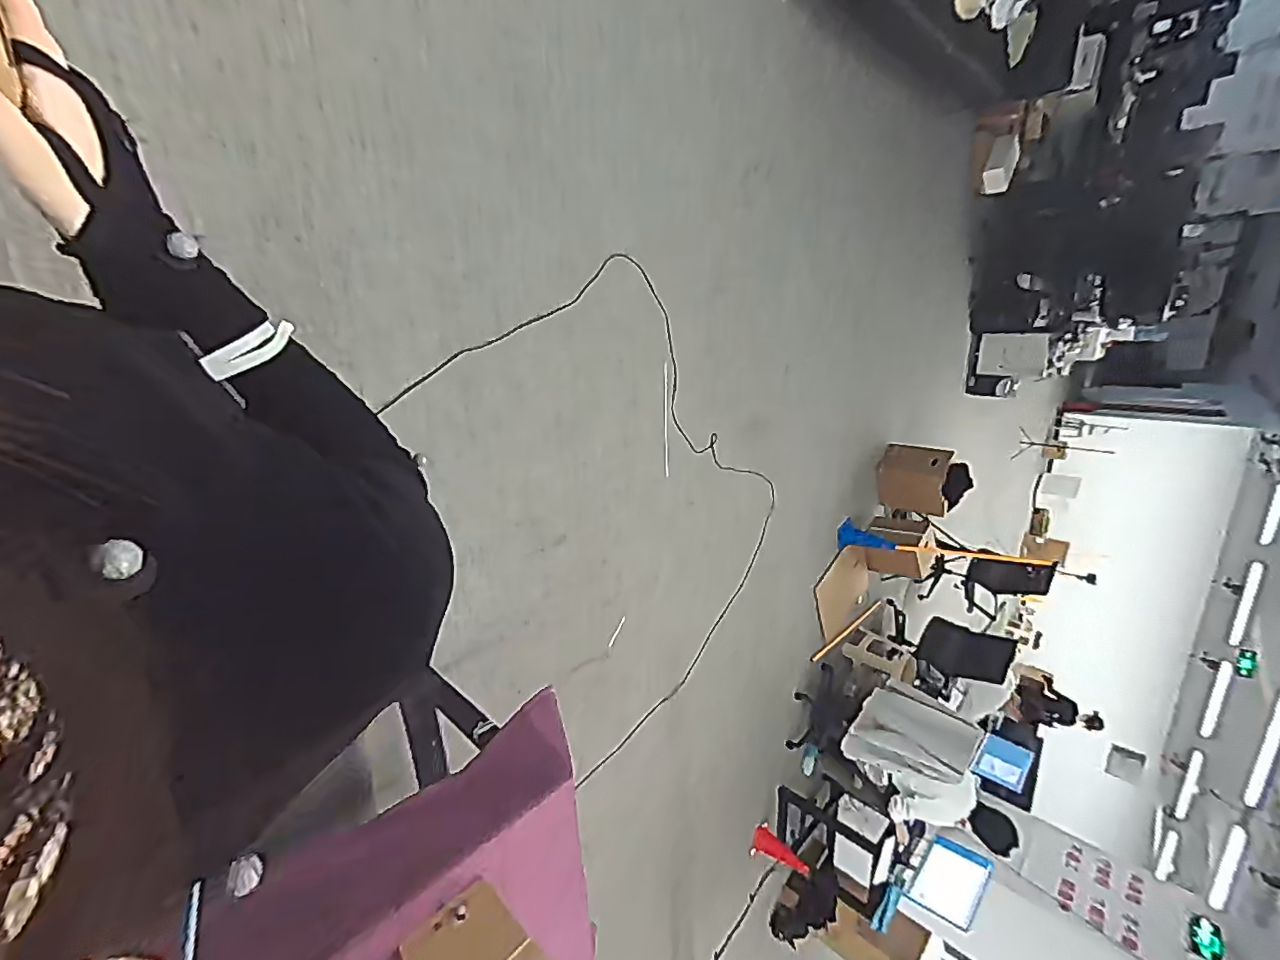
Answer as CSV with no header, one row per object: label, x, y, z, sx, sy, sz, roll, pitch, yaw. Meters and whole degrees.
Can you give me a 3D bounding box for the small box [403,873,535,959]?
small box,-0.302,0.868,0.967,0.168,0.176,0.179,-19,113,-43
